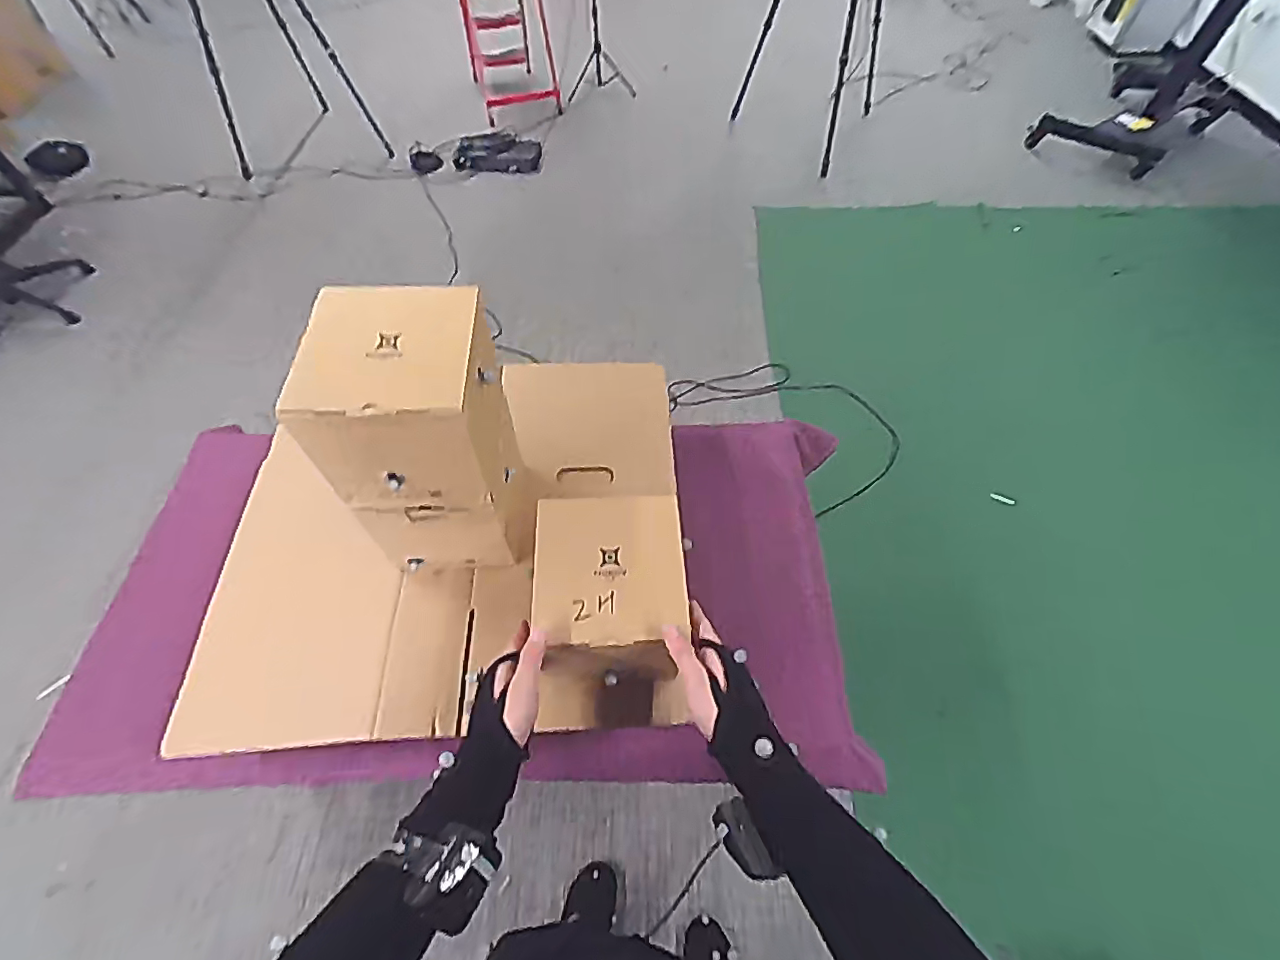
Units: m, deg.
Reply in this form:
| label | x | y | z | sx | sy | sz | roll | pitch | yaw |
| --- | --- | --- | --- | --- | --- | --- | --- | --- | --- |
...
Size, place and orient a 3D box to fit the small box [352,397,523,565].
| label | x | y | z | sx | sy | sz | roll | pitch | yaw |
| --- | --- | --- | --- | --- | --- | --- | --- | --- | --- |
| small box | -0.254 | 0.008 | 0.729 | 0.168 | 0.176 | 0.179 | -1 | 56 | -4 |

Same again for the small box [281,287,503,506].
| label | x | y | z | sx | sy | sz | roll | pitch | yaw |
| --- | --- | --- | --- | --- | --- | --- | --- | --- | --- |
| small box | -0.249 | -0.088 | 0.597 | 0.168 | 0.176 | 0.179 | -2 | 58 | -5 |

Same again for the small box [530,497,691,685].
| label | x | y | z | sx | sy | sz | roll | pitch | yaw |
| --- | --- | --- | --- | --- | --- | --- | --- | --- | --- |
| small box | -0.035 | 0.137 | 0.655 | 0.168 | 0.176 | 0.179 | -1 | 57 | -2 |
